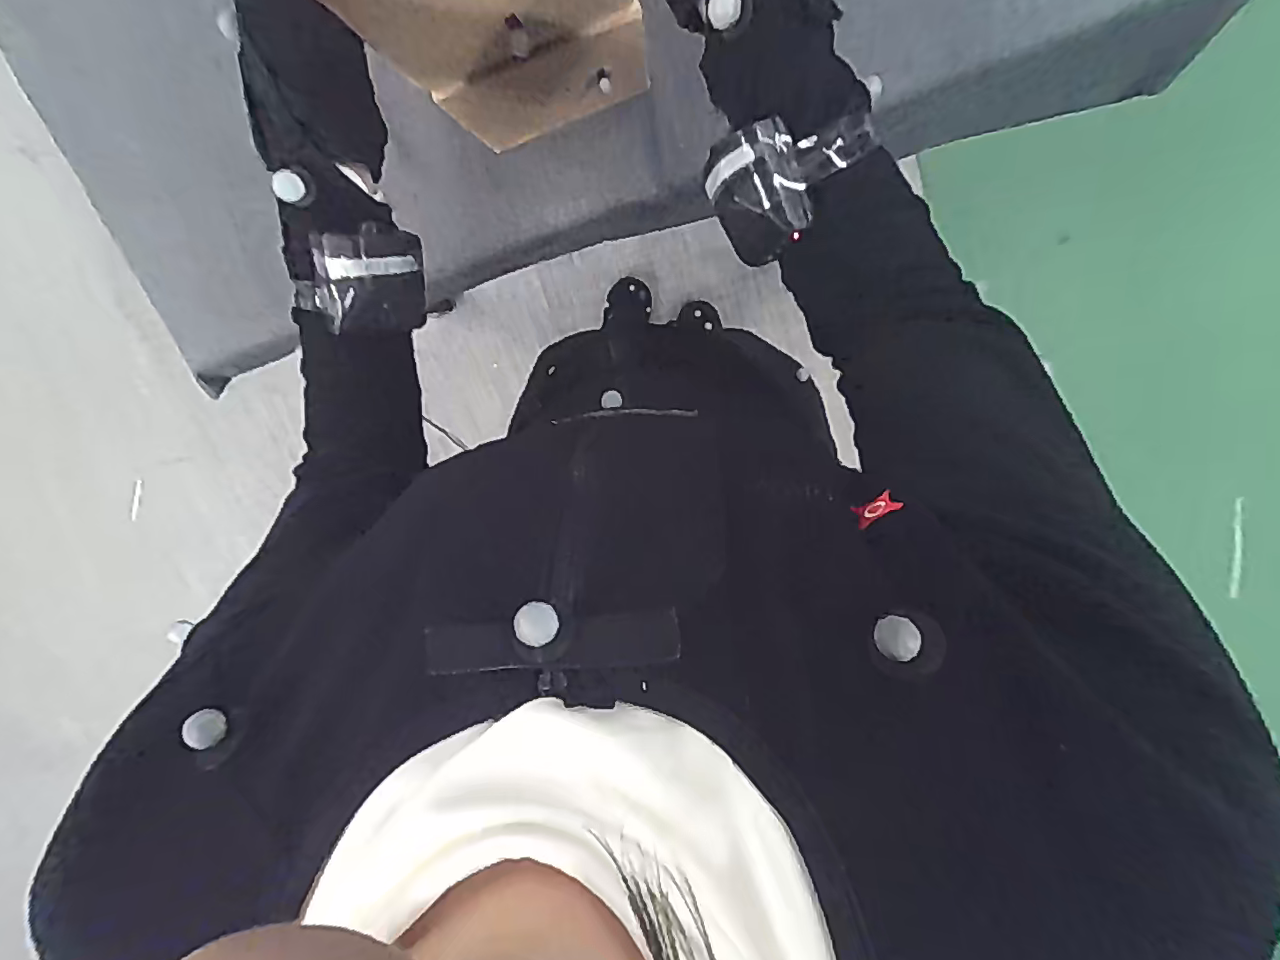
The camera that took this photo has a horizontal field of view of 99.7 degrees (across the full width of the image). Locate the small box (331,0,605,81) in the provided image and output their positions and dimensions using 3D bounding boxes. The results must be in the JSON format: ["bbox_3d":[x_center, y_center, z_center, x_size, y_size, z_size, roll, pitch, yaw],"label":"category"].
[{"bbox_3d":[-0.114,-0.376,0.309,0.179,0.176,0.168,-17,105,7],"label":"small box"}]

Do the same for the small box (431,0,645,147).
[{"bbox_3d":[-0.100,-0.425,0.469,0.179,0.176,0.168,-17,106,10],"label":"small box"}]
